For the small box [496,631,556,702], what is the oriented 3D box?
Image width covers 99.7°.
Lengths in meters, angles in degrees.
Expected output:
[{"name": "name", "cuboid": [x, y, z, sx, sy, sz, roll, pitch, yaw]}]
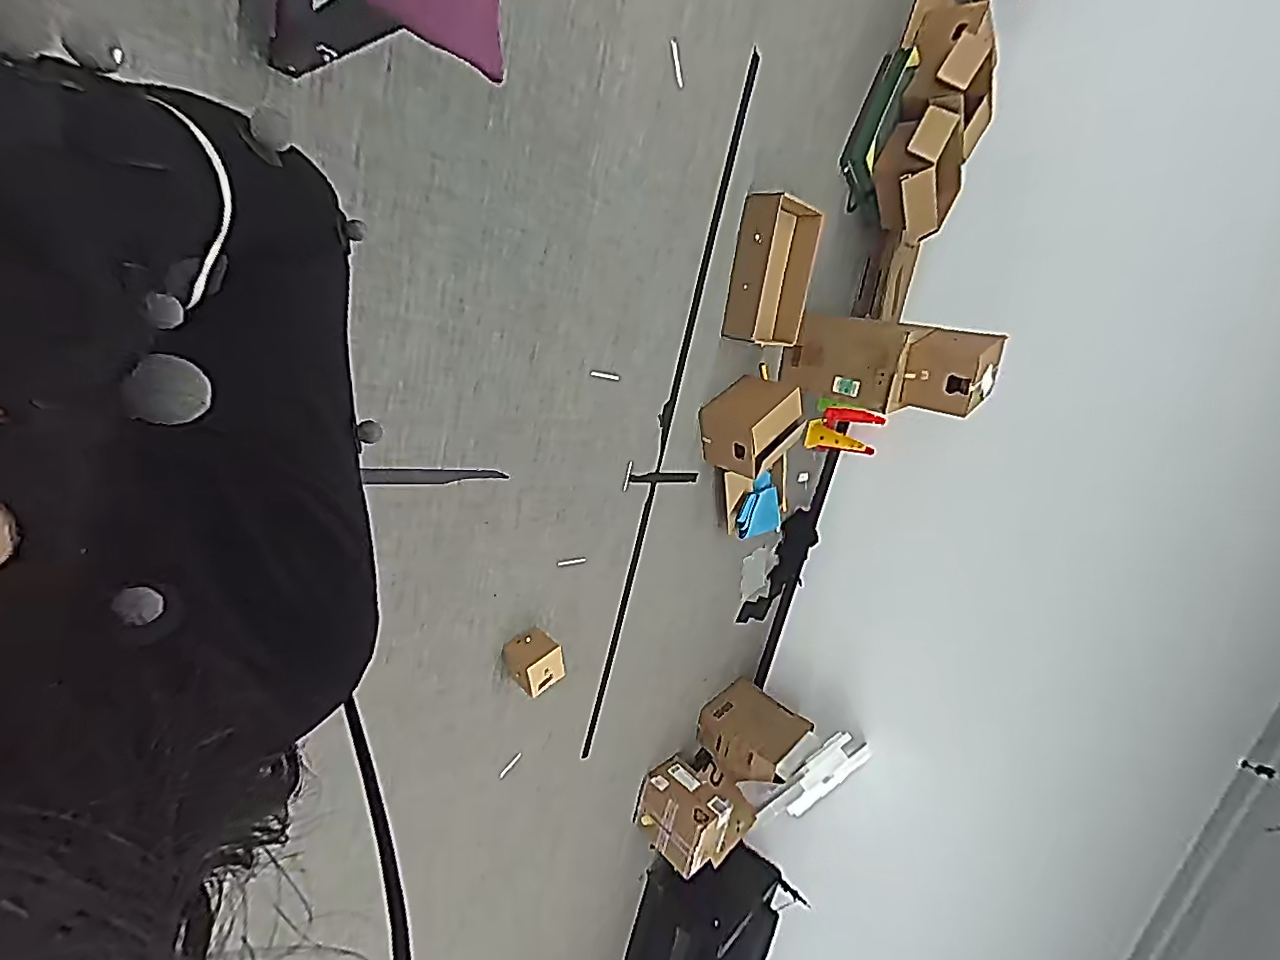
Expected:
[{"name": "small box", "cuboid": [-0.463, 0.753, 2.201, 0.168, 0.176, 0.179, -28, 128, -38]}]
